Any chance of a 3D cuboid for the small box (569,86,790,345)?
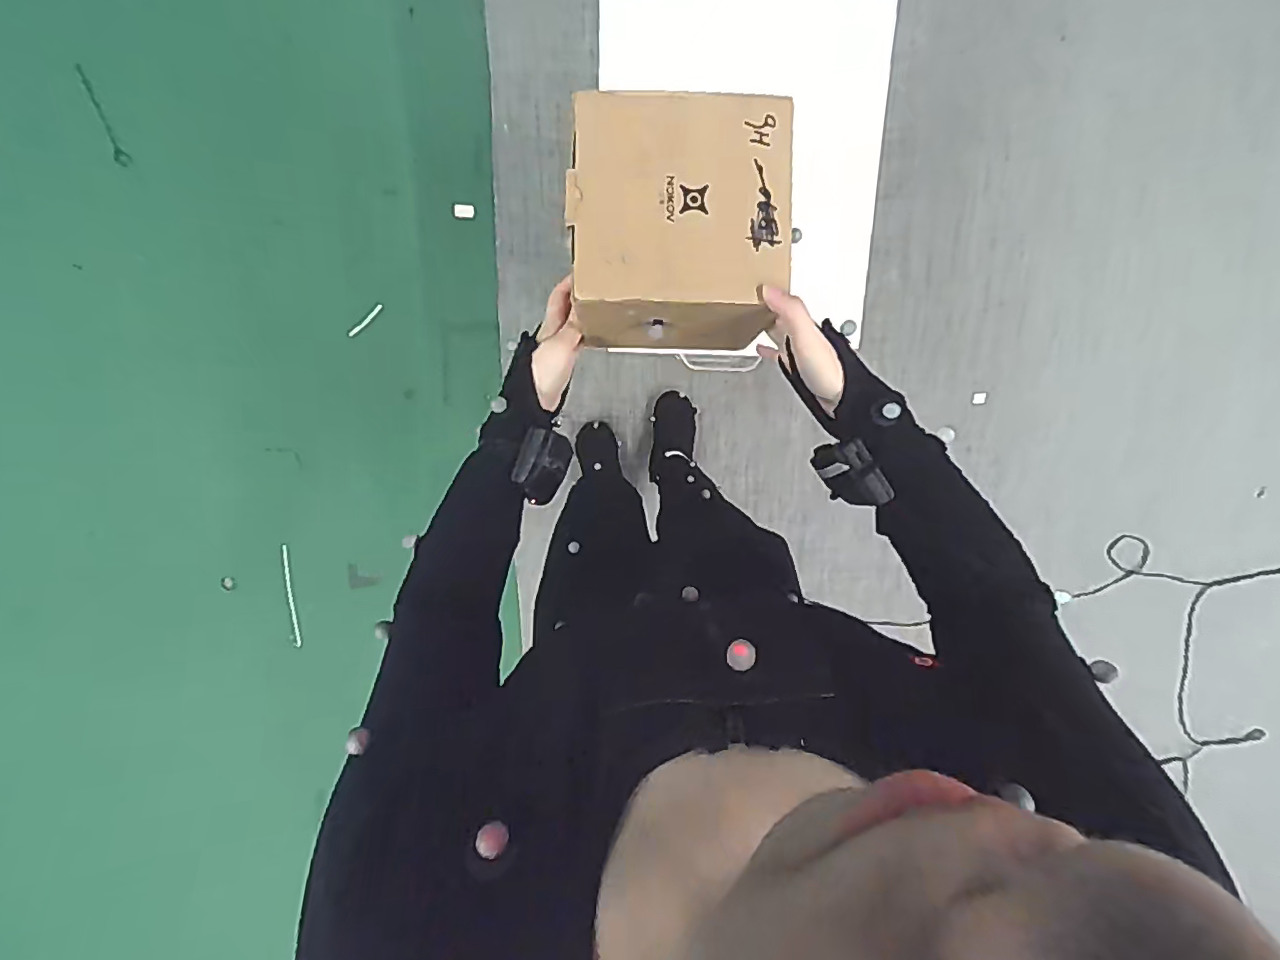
[{"bbox_3d":[0.031,-0.231,0.513,0.179,0.176,0.168,1,90,-2],"label":"small box"}]
